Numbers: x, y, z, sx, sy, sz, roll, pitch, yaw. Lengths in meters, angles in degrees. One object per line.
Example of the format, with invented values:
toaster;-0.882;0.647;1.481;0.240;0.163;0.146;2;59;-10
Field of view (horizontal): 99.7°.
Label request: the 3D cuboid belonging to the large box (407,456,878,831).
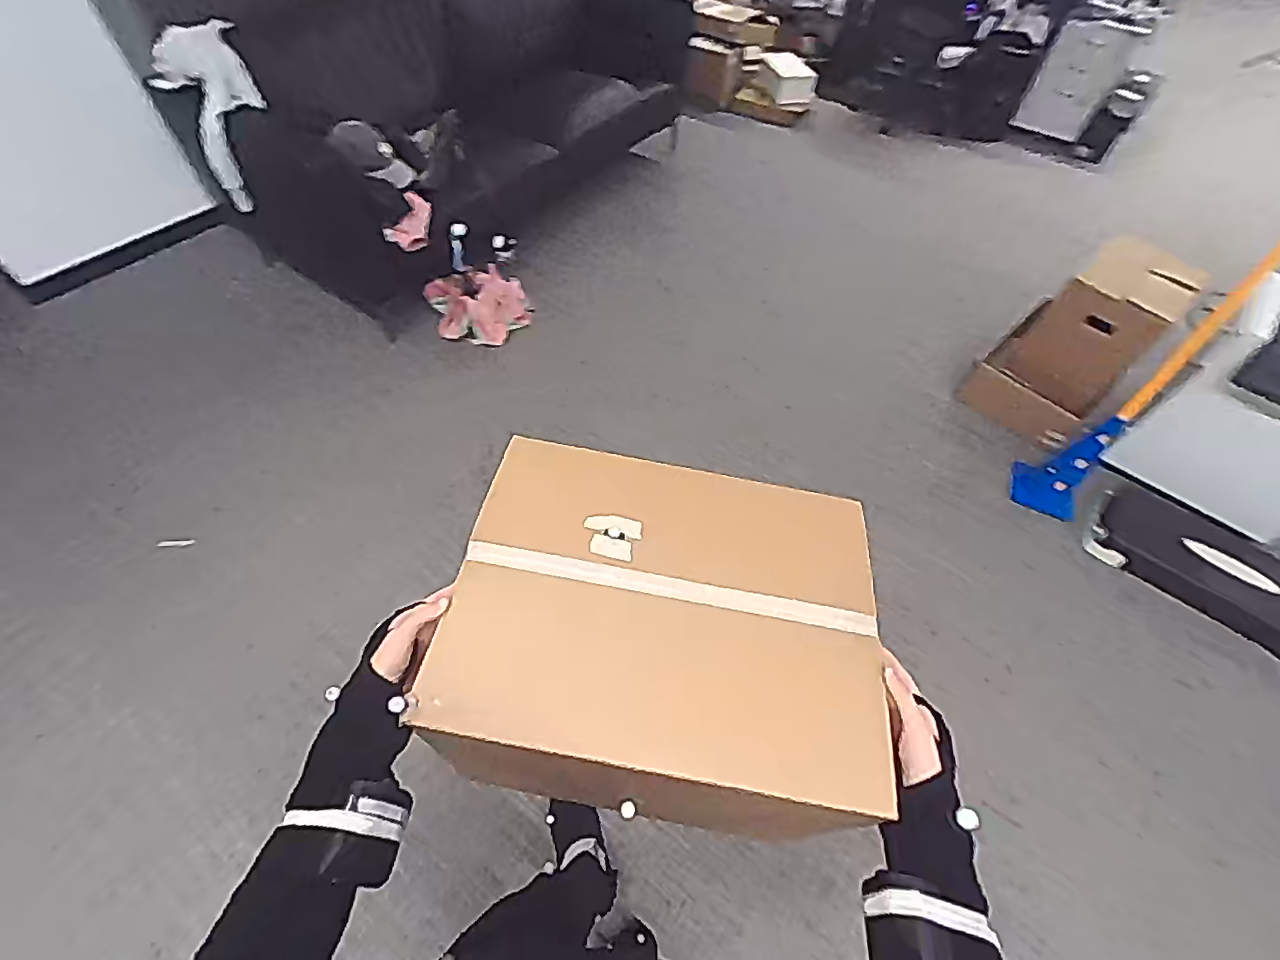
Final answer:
large box;0.010;0.209;0.653;0.408;0.320;0.320;10;52;1
